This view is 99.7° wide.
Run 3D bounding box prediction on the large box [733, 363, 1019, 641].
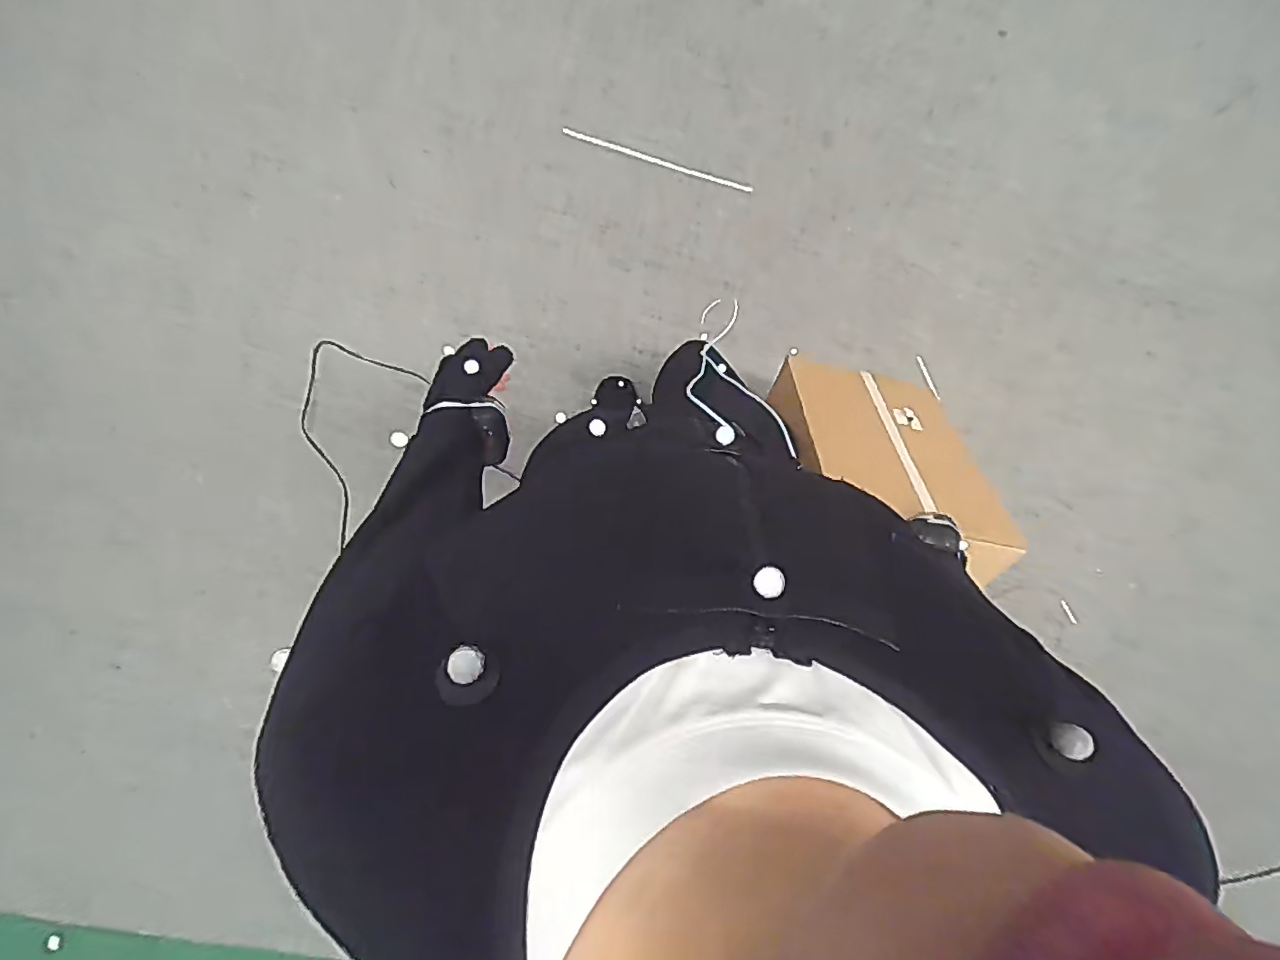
[{"bbox_3d":[0.388,0.042,1.023,0.320,0.408,0.320,11,134,-9],"label":"large box"}]
